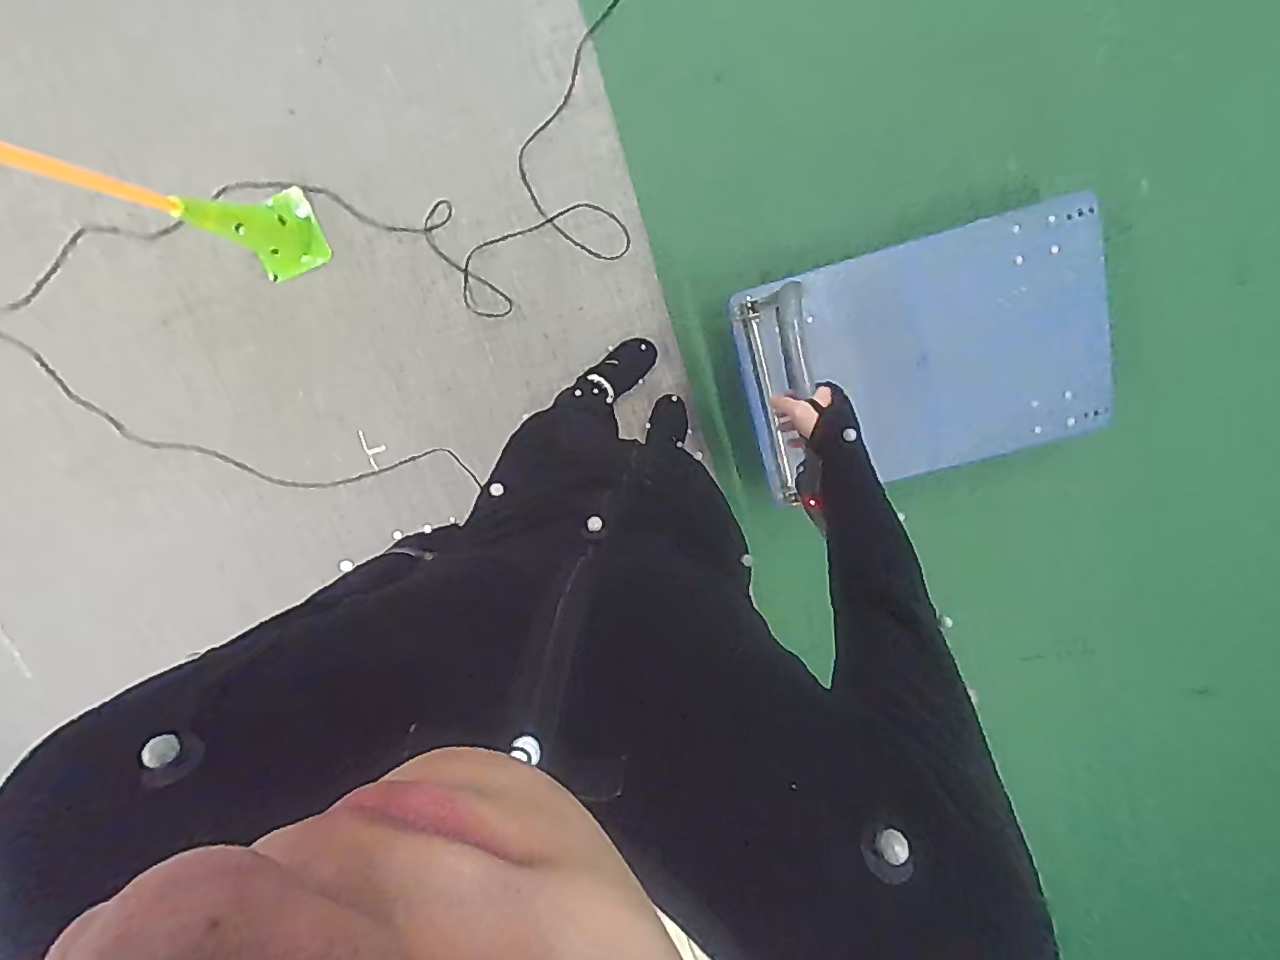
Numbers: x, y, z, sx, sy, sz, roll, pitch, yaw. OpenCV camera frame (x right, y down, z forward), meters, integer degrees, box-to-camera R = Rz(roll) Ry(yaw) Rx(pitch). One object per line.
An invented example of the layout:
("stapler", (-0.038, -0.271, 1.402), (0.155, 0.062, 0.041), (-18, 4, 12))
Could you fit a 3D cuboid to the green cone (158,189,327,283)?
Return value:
("green cone", (-0.996, -0.633, 1.328), (0.200, 0.368, 0.202), (-20, 101, 8))
